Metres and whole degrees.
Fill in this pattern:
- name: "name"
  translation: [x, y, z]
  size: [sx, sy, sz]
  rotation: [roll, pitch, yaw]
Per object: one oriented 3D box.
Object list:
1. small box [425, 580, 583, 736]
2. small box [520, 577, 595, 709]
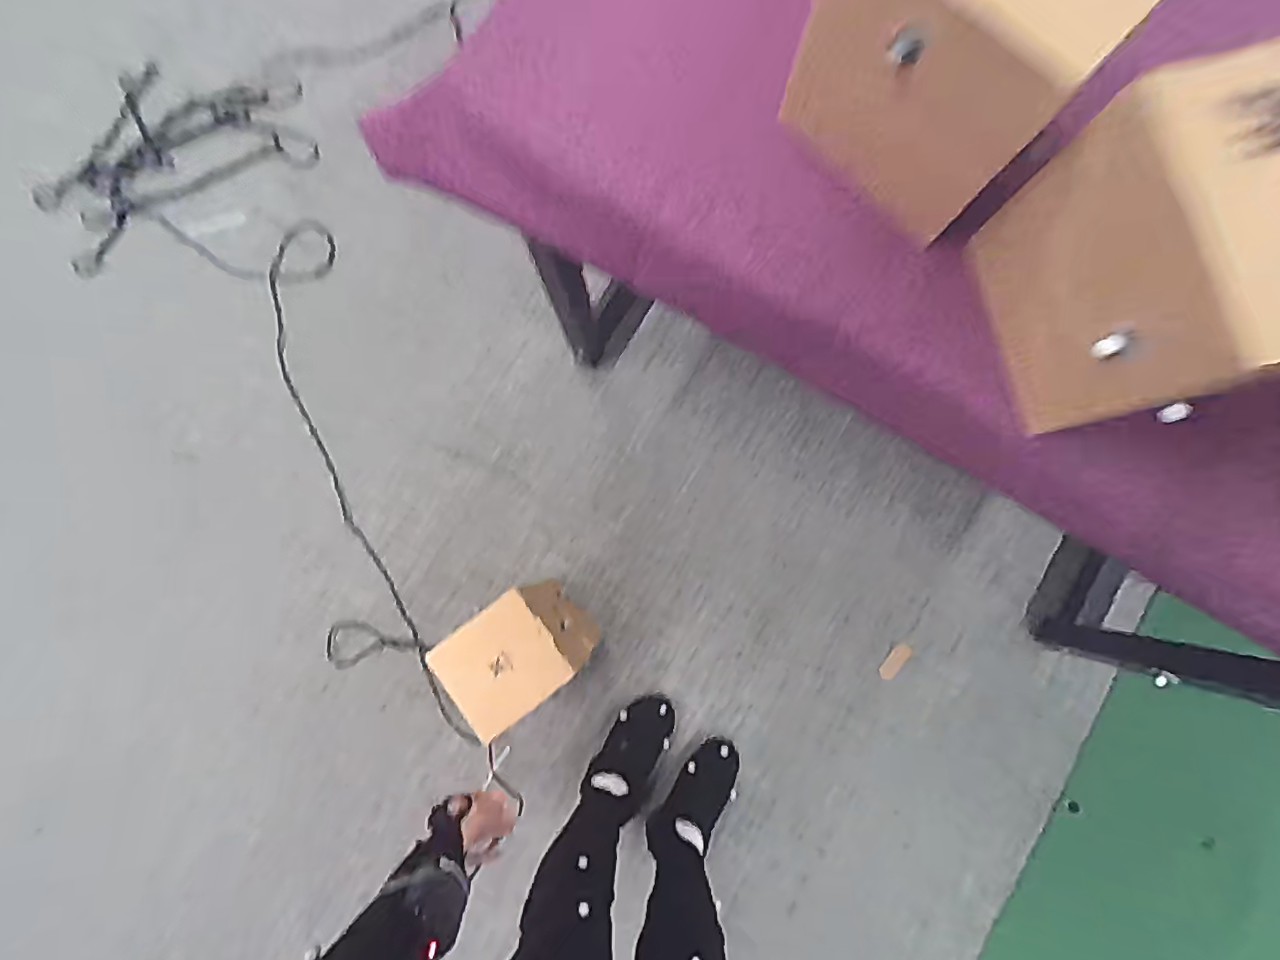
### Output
- name: "small box"
  translation: [-0.215, 0.285, 0.907]
  size: [0.179, 0.176, 0.168]
  rotation: [-37, 83, -4]
- name: "small box"
  translation: [-0.204, 0.308, 1.067]
  size: [0.179, 0.176, 0.168]
  rotation: [-43, 84, -3]
